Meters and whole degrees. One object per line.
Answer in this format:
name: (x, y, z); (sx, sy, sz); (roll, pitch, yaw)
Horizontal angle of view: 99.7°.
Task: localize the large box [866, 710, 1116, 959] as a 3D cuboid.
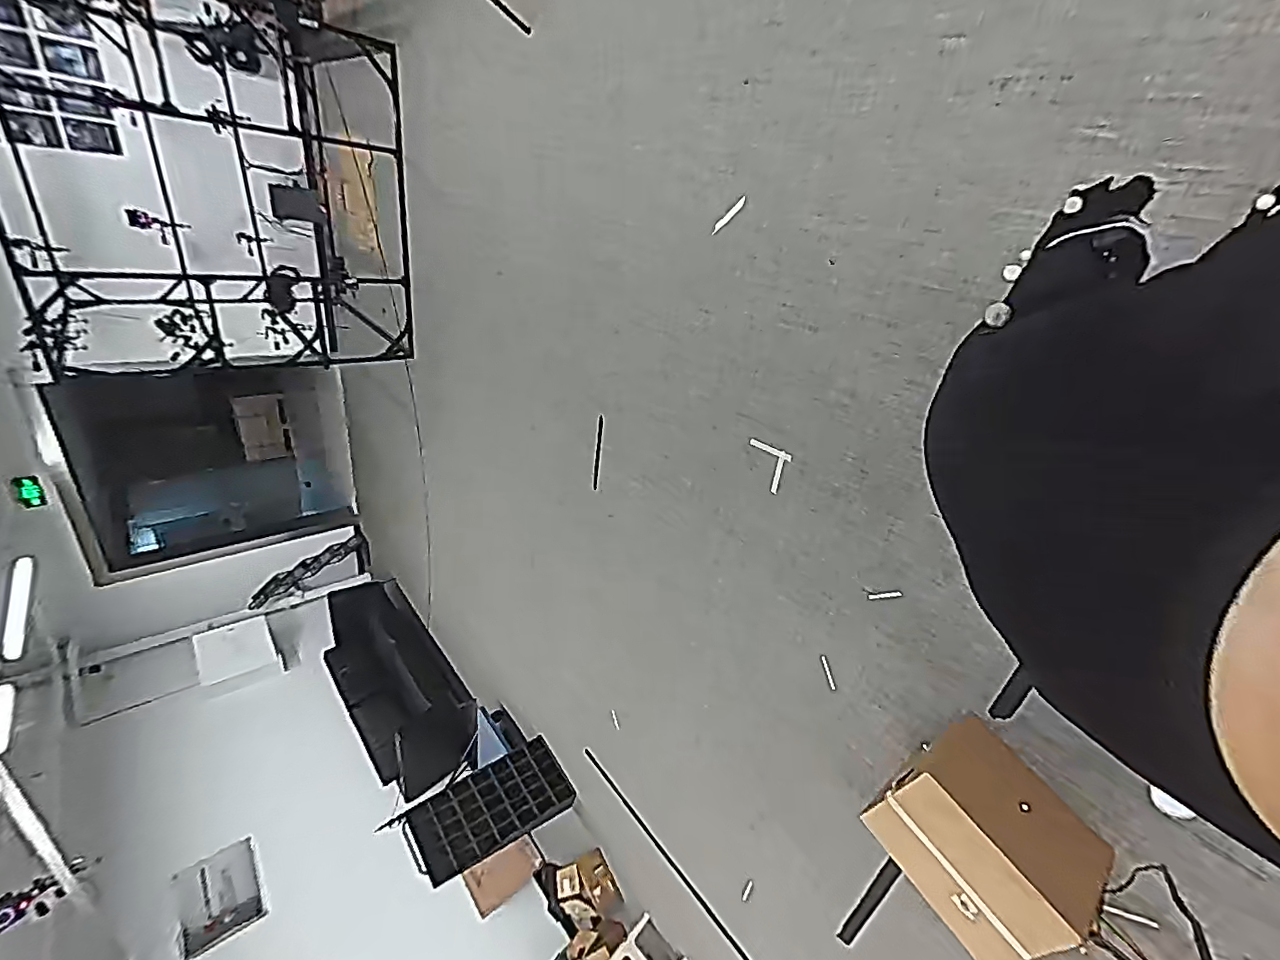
large box: (0.901, 0.907, 1.417); (0.408, 0.320, 0.320); (47, 134, 29)
